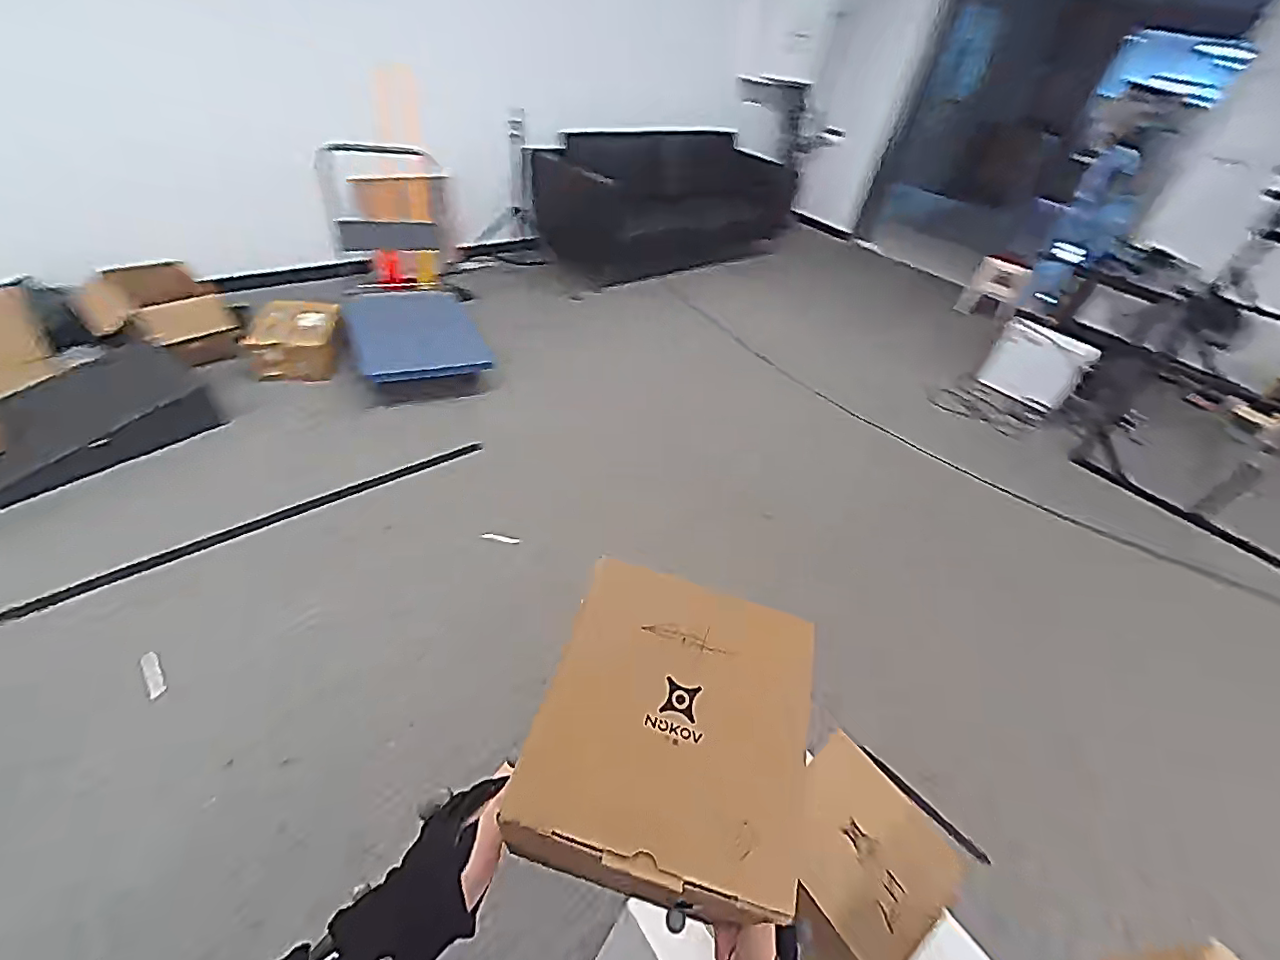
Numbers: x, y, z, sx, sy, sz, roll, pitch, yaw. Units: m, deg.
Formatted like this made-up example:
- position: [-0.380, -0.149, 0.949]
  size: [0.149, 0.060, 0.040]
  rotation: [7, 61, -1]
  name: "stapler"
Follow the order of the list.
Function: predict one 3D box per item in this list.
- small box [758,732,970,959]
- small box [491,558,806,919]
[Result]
- position: [0.216, 0.437, 0.616]
  size: [0.168, 0.176, 0.179]
  rotation: [-20, 51, -31]
  name: "small box"
- position: [0.008, 0.192, 0.400]
  size: [0.168, 0.176, 0.179]
  rotation: [17, 49, 3]
  name: "small box"
